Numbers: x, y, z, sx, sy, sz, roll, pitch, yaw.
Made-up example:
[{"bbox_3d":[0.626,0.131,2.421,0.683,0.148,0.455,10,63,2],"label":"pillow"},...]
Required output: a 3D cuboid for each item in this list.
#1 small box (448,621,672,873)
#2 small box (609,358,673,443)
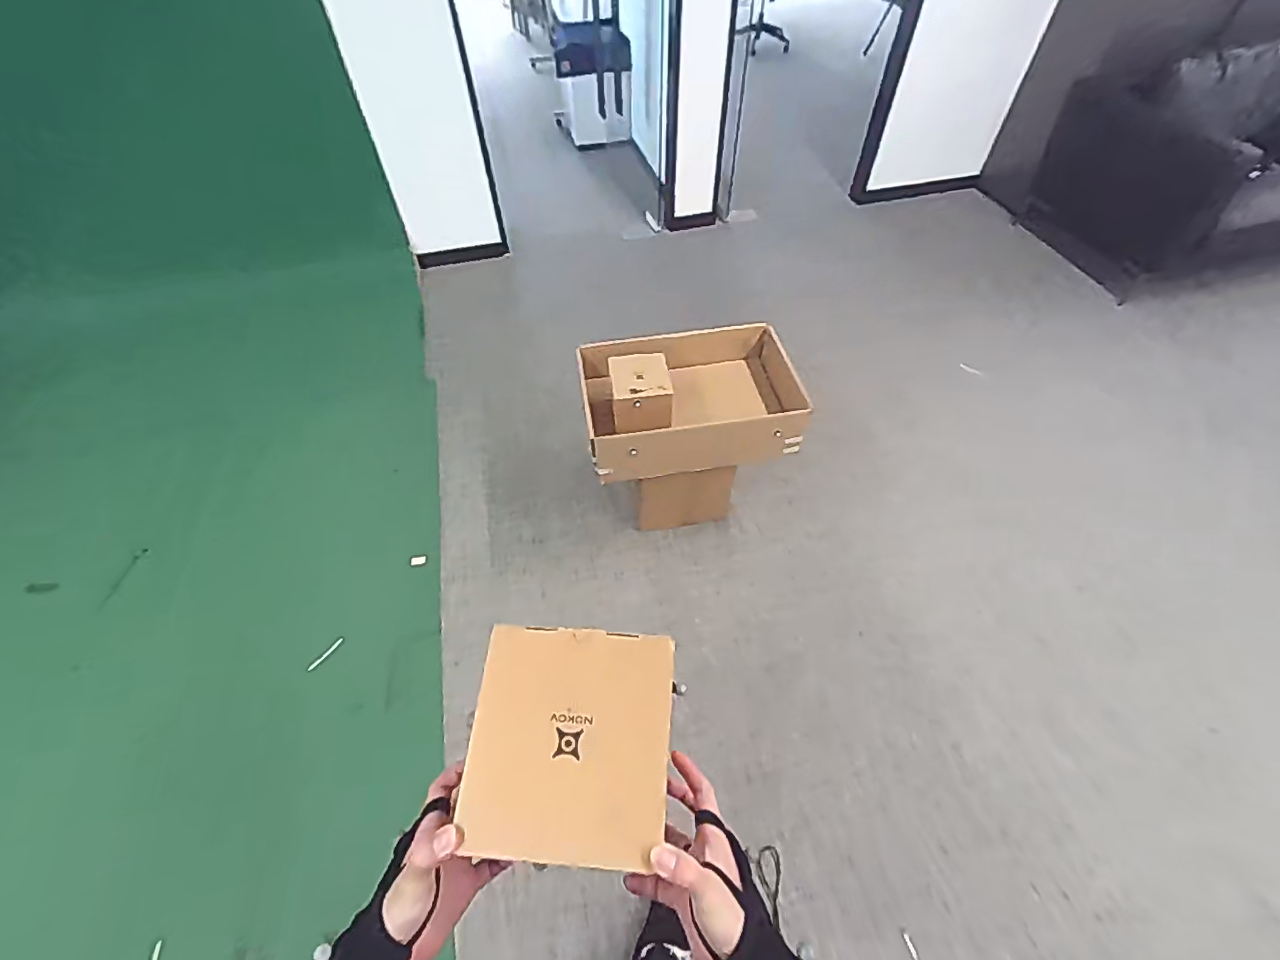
[{"bbox_3d":[-0.057,0.248,0.518,0.168,0.176,0.179,4,61,4],"label":"small box"},{"bbox_3d":[0.000,-0.232,1.580,0.168,0.176,0.179,-6,52,-3],"label":"small box"}]
